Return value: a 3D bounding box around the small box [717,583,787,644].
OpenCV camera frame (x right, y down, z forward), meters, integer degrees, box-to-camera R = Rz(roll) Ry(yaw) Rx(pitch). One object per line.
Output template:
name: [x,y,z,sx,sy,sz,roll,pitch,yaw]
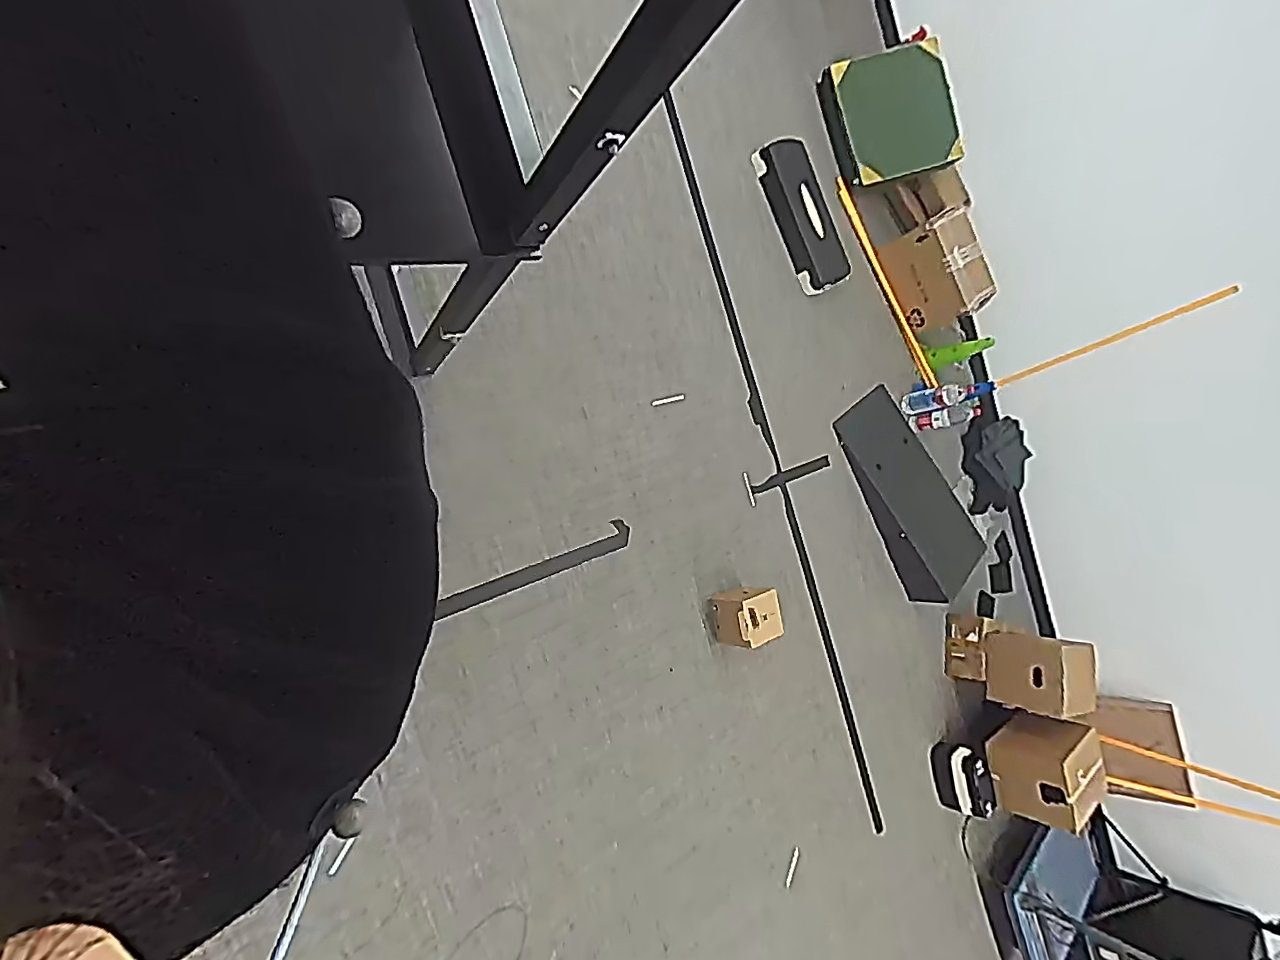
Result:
small box: [0.392,0.471,1.932,0.179,0.176,0.168,-12,90,-35]
